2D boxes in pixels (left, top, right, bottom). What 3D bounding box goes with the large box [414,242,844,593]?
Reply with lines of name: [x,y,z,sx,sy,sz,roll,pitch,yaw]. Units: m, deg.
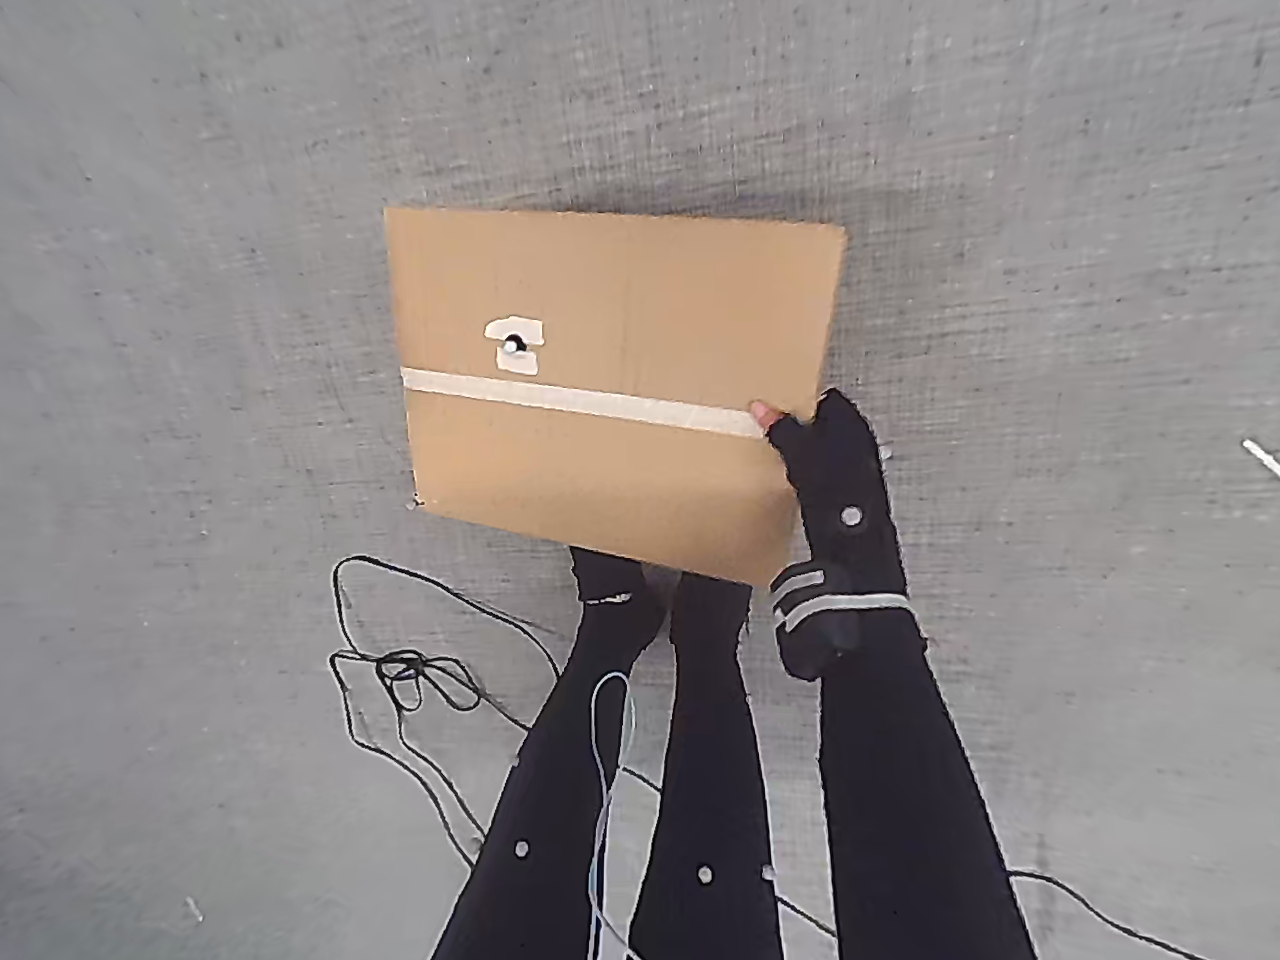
large box: [0.012,-0.112,0.653,0.408,0.320,0.320,10,113,18]
